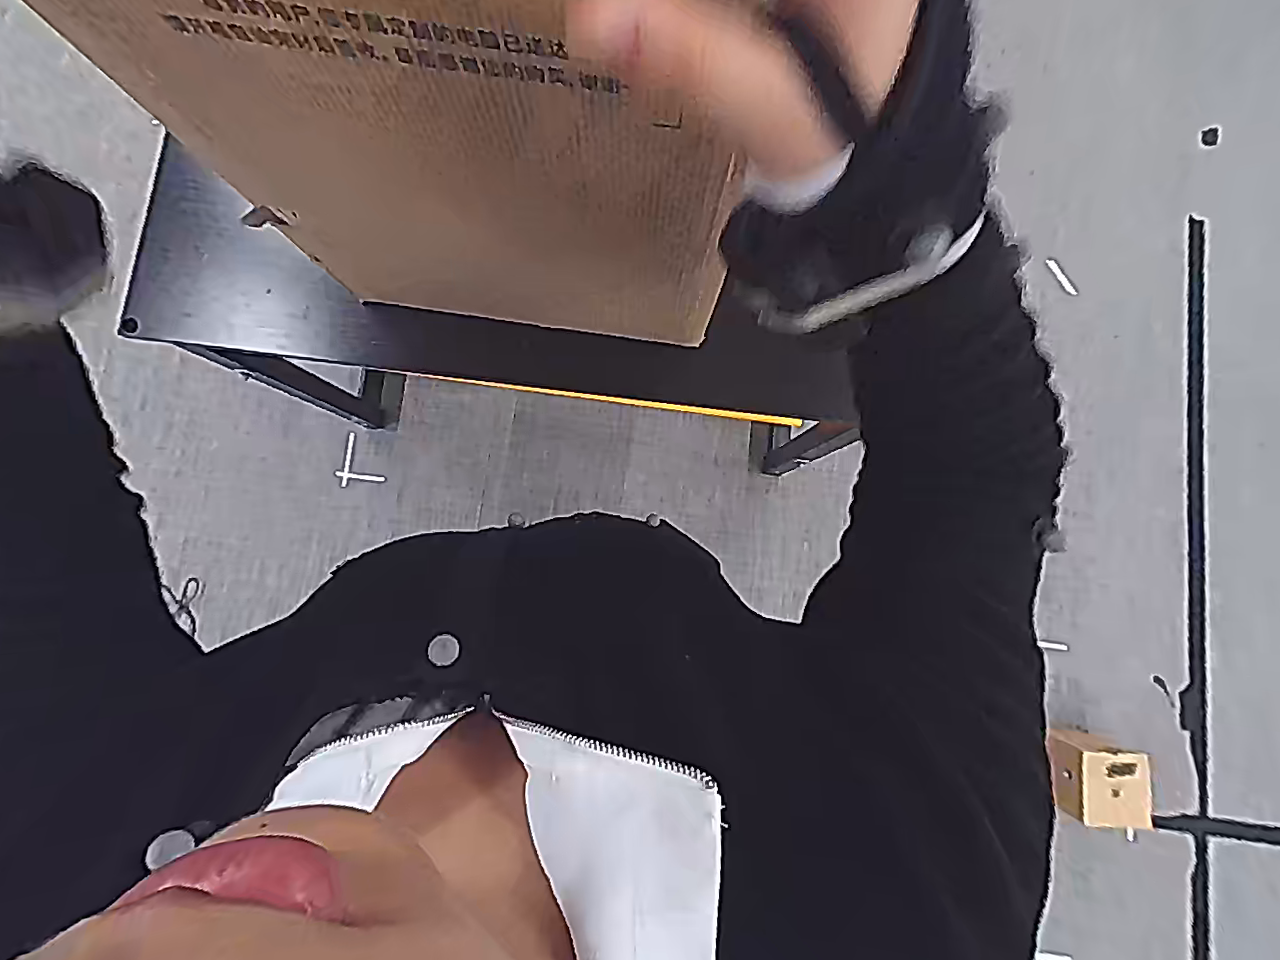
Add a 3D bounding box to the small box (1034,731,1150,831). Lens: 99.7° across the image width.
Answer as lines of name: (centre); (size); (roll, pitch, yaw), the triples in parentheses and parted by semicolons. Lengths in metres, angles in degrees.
small box: (1.146, 0.760, 1.383); (0.168, 0.176, 0.179); (4, 84, -1)
